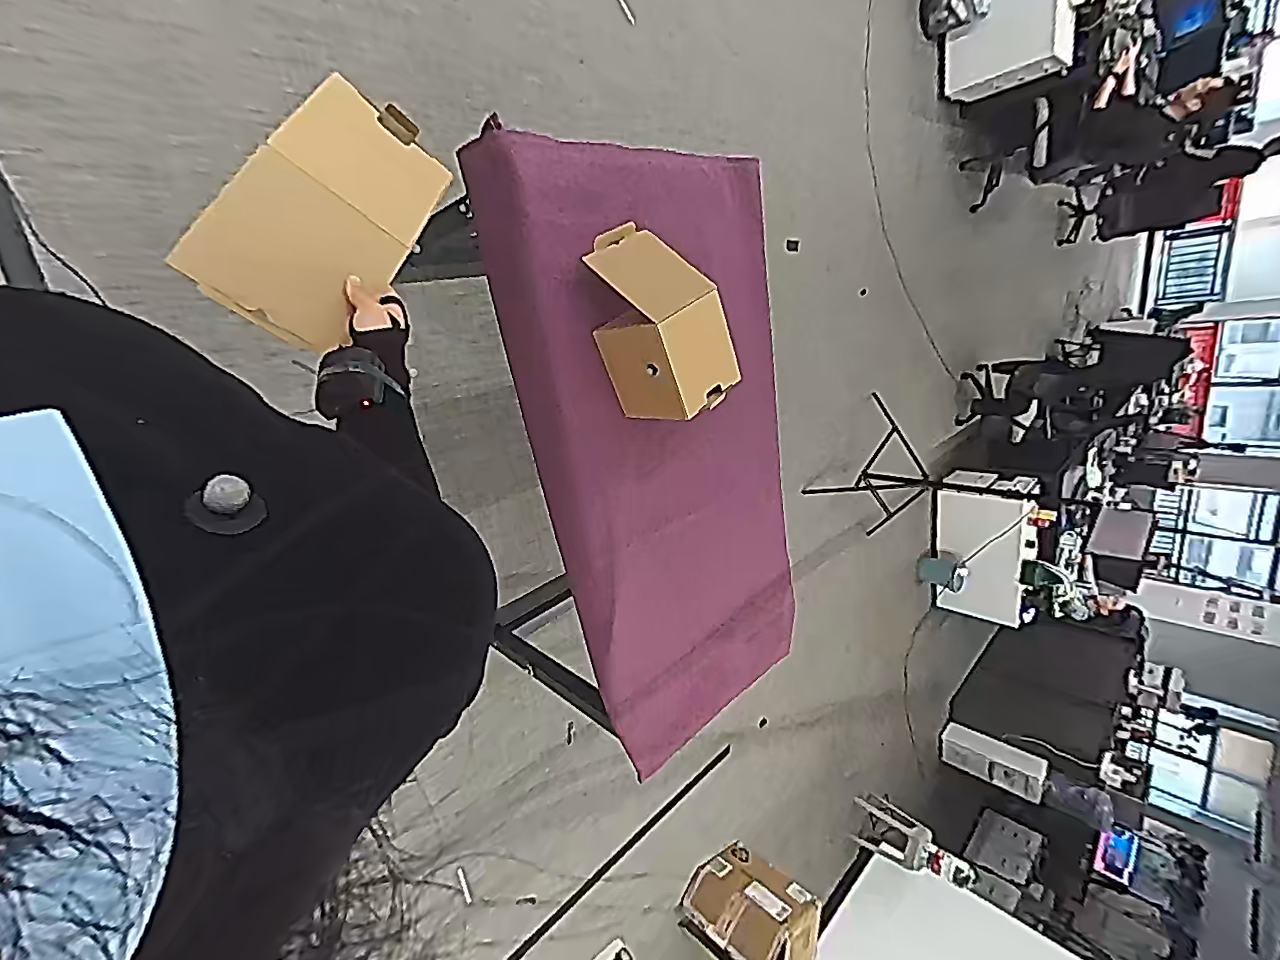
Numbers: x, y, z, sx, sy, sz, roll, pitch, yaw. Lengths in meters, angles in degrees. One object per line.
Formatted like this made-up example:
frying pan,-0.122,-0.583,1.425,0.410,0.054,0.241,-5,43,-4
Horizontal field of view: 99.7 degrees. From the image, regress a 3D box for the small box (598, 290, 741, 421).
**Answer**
small box,0.052,-0.221,0.978,0.168,0.176,0.179,-38,122,-31
